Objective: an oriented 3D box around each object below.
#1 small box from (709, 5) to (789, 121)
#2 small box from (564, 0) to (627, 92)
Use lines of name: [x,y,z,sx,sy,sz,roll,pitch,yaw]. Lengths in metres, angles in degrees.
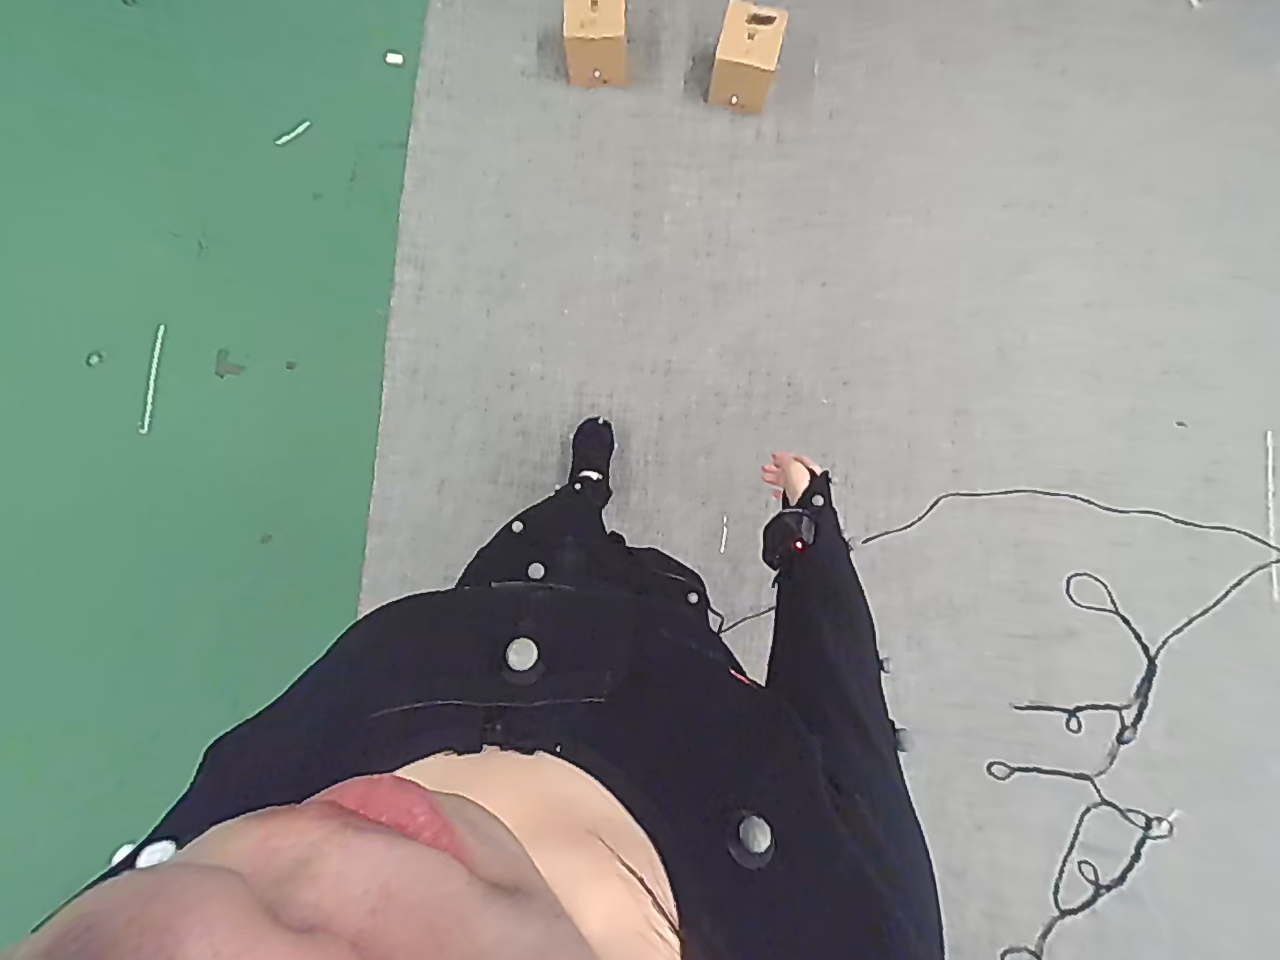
small box: [0.300,-1.166,1.522,0.168,0.176,0.179,14,86,1]
small box: [-0.121,-1.246,1.527,0.168,0.176,0.179,0,85,0]
